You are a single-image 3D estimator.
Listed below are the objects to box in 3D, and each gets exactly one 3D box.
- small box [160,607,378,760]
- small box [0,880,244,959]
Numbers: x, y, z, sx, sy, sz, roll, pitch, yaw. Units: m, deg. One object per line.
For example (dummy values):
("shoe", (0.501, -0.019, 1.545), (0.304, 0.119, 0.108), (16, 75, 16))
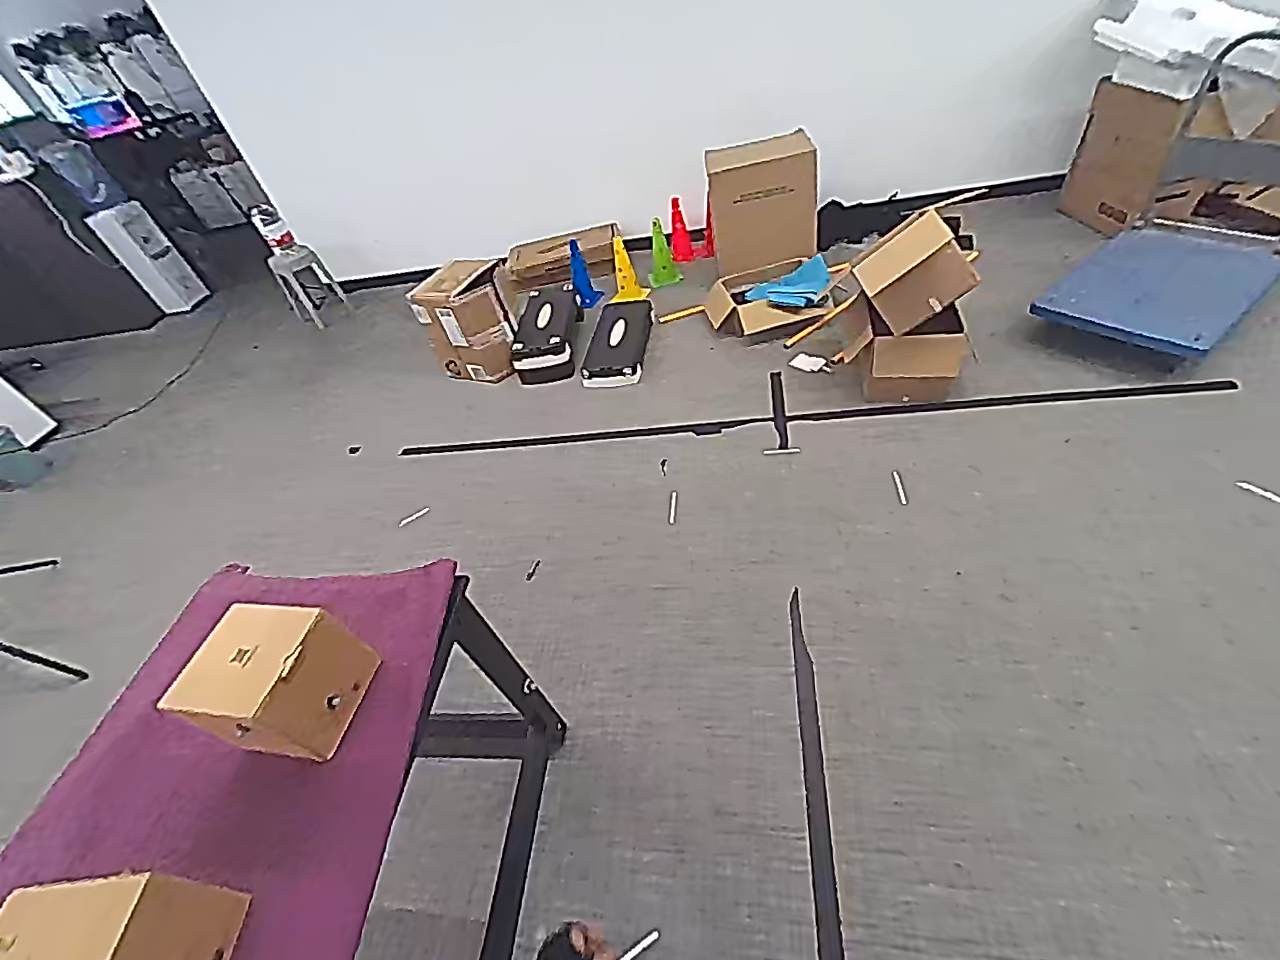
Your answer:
("small box", (-0.552, 0.312, 0.832), (0.179, 0.176, 0.168), (-1, 46, 15))
("small box", (-0.597, 0.562, 0.597), (0.179, 0.176, 0.168), (-10, 44, 5))
